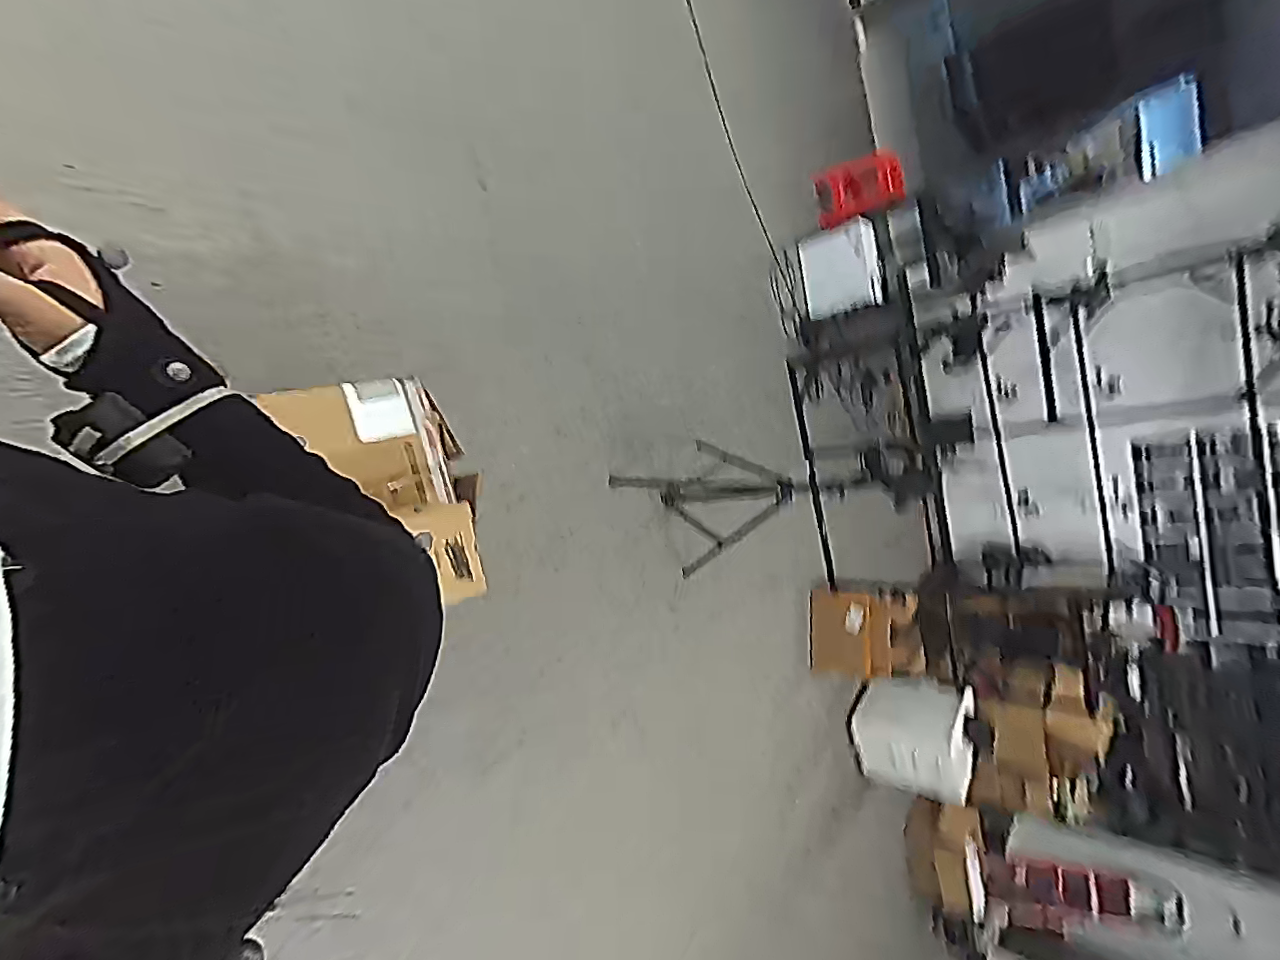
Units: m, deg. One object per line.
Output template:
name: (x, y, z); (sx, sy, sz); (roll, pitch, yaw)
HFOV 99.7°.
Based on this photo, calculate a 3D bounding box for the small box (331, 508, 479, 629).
small box: (-0.417, 0.145, 0.962); (0.179, 0.176, 0.168); (-15, 98, -44)
